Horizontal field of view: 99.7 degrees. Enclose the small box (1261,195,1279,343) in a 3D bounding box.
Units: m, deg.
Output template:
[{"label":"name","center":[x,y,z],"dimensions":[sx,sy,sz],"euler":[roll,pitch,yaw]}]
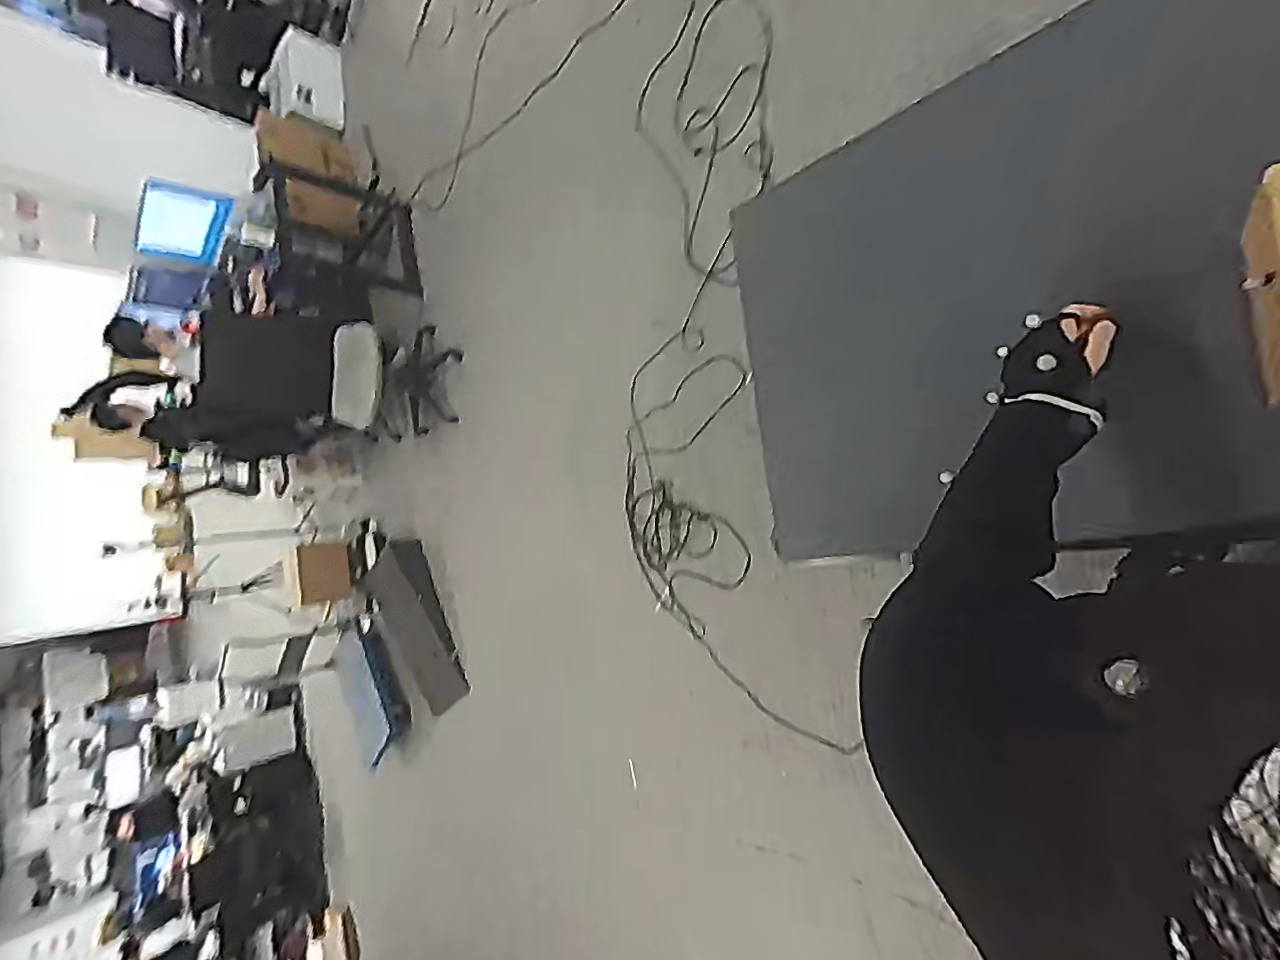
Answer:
[{"label":"small box","center":[0.601,-0.168,0.398],"dimensions":[0.168,0.176,0.179],"euler":[-9,84,45]}]
